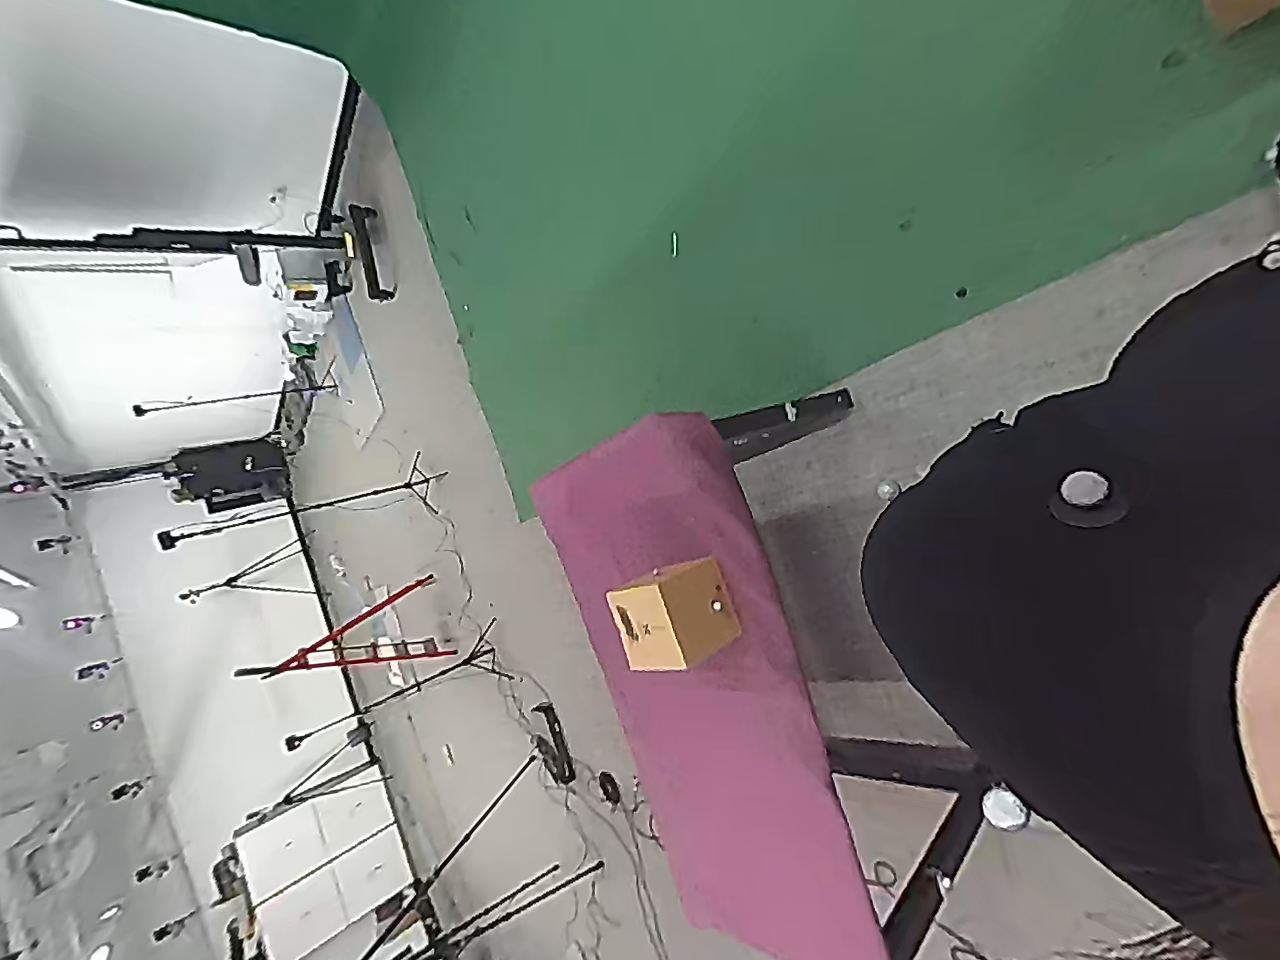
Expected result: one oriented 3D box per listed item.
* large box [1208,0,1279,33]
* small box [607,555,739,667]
[{"bbox_3d":[0.965,-0.921,0.692,0.408,0.320,0.320,-22,87,49],"label":"large box"},{"bbox_3d":[0.067,0.262,1.091,0.179,0.176,0.168,-24,85,49],"label":"small box"}]
